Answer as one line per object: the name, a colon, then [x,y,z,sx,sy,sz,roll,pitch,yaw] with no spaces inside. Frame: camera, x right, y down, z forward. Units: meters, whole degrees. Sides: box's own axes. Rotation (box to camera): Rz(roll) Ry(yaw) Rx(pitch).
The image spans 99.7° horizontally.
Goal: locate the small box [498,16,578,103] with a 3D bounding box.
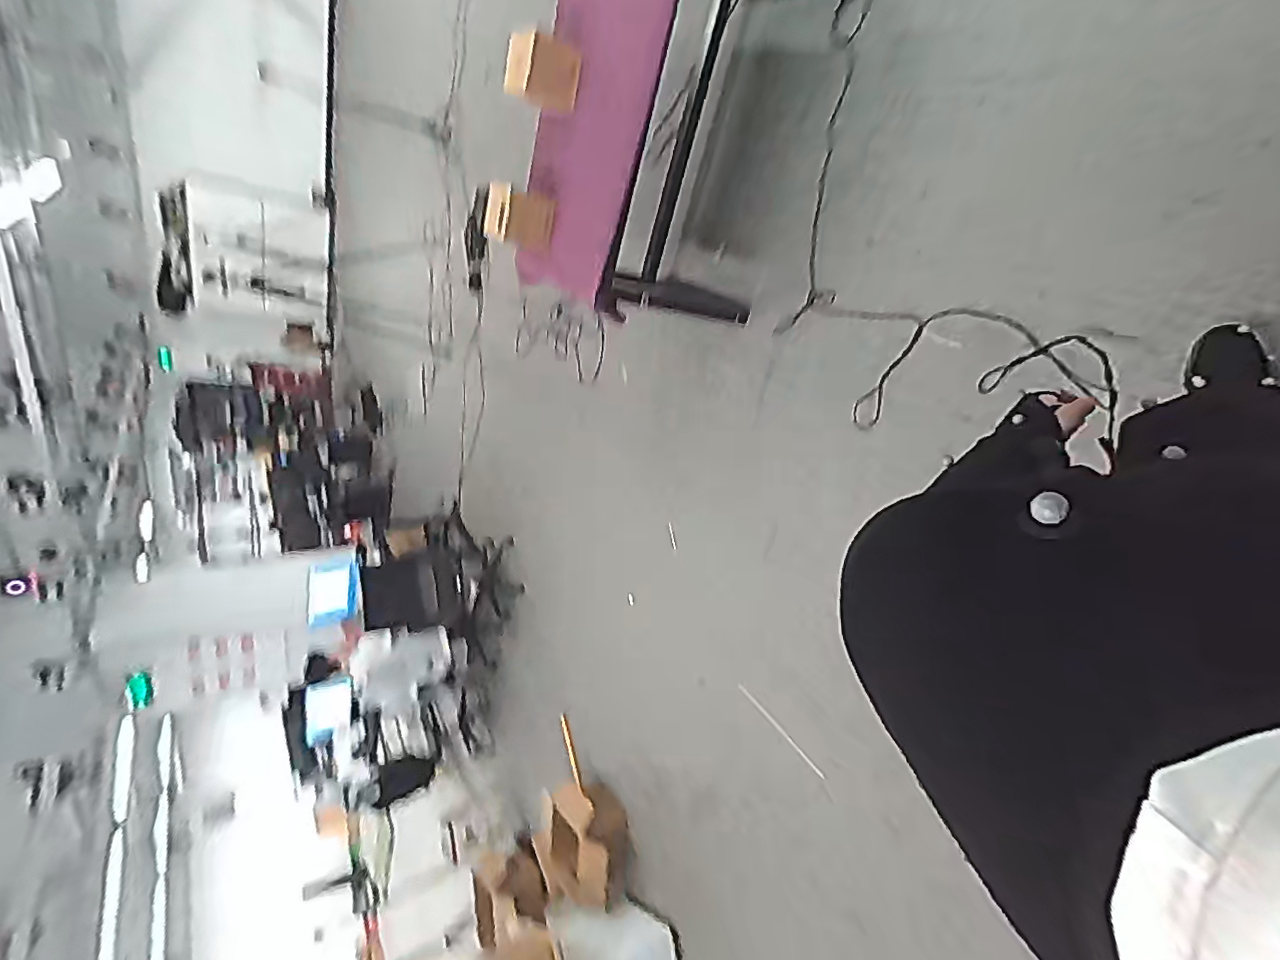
small box: [-0.318,-1.296,1.677,0.179,0.176,0.168,40,123,41]
